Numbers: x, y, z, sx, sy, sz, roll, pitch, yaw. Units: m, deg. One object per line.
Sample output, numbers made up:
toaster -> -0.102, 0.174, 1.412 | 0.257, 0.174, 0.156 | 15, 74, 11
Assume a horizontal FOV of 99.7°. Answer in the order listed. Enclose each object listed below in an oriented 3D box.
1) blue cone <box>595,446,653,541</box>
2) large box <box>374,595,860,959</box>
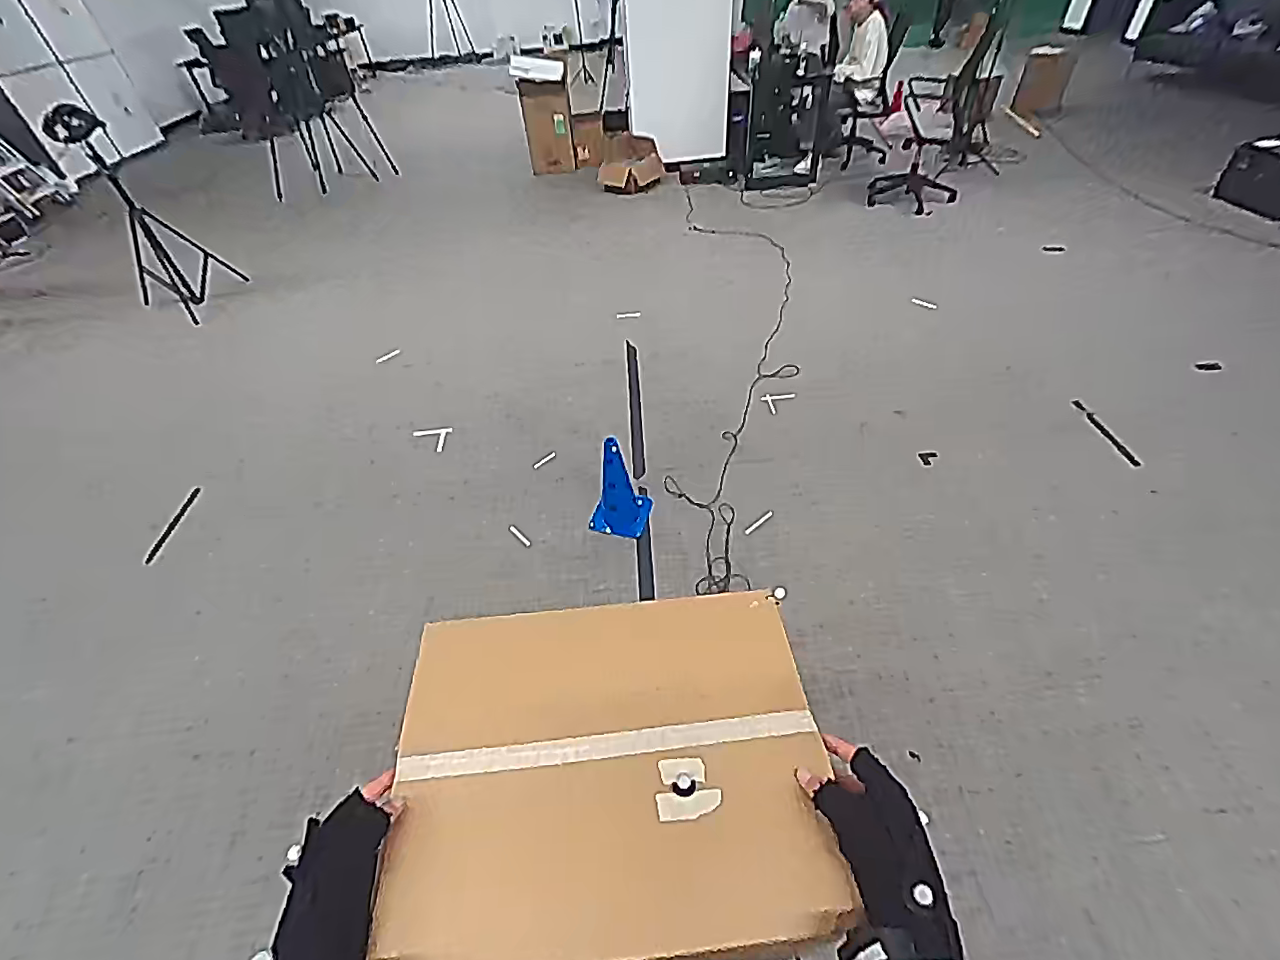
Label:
blue cone -> -0.072, 0.025, 1.890 | 0.193, 0.380, 0.192 | 9, 47, 16
large box -> -0.026, 0.370, 0.640 | 0.408, 0.320, 0.320 | -5, 45, -3
